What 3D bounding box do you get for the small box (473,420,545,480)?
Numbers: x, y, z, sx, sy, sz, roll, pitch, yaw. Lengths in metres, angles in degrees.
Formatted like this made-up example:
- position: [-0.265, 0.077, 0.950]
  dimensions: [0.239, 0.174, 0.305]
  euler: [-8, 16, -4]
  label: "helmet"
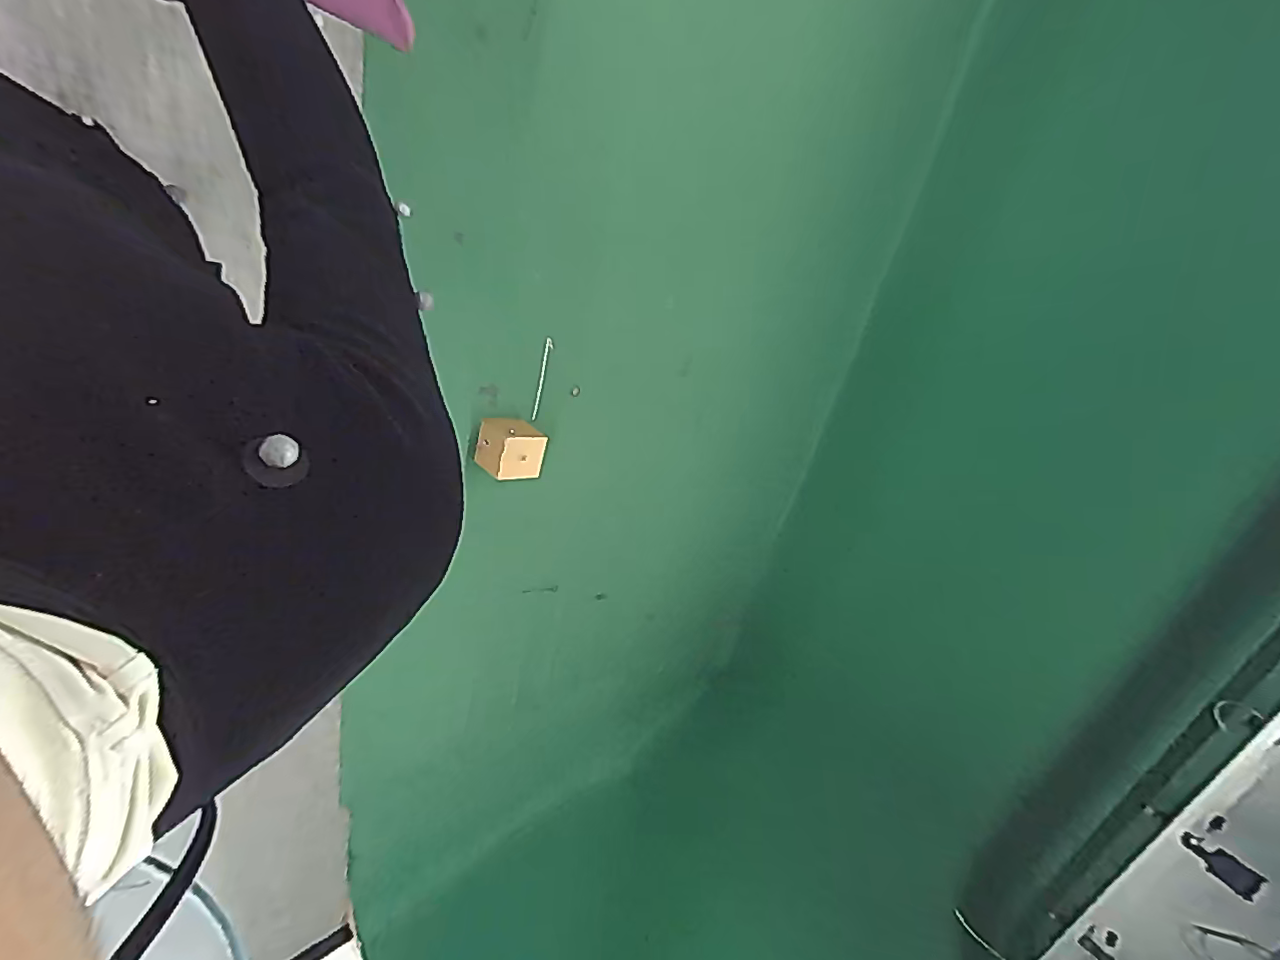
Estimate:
- position: [-0.479, -0.113, 1.966]
  dimensions: [0.179, 0.176, 0.168]
  euler: [-5, 120, -45]
  label: "small box"
